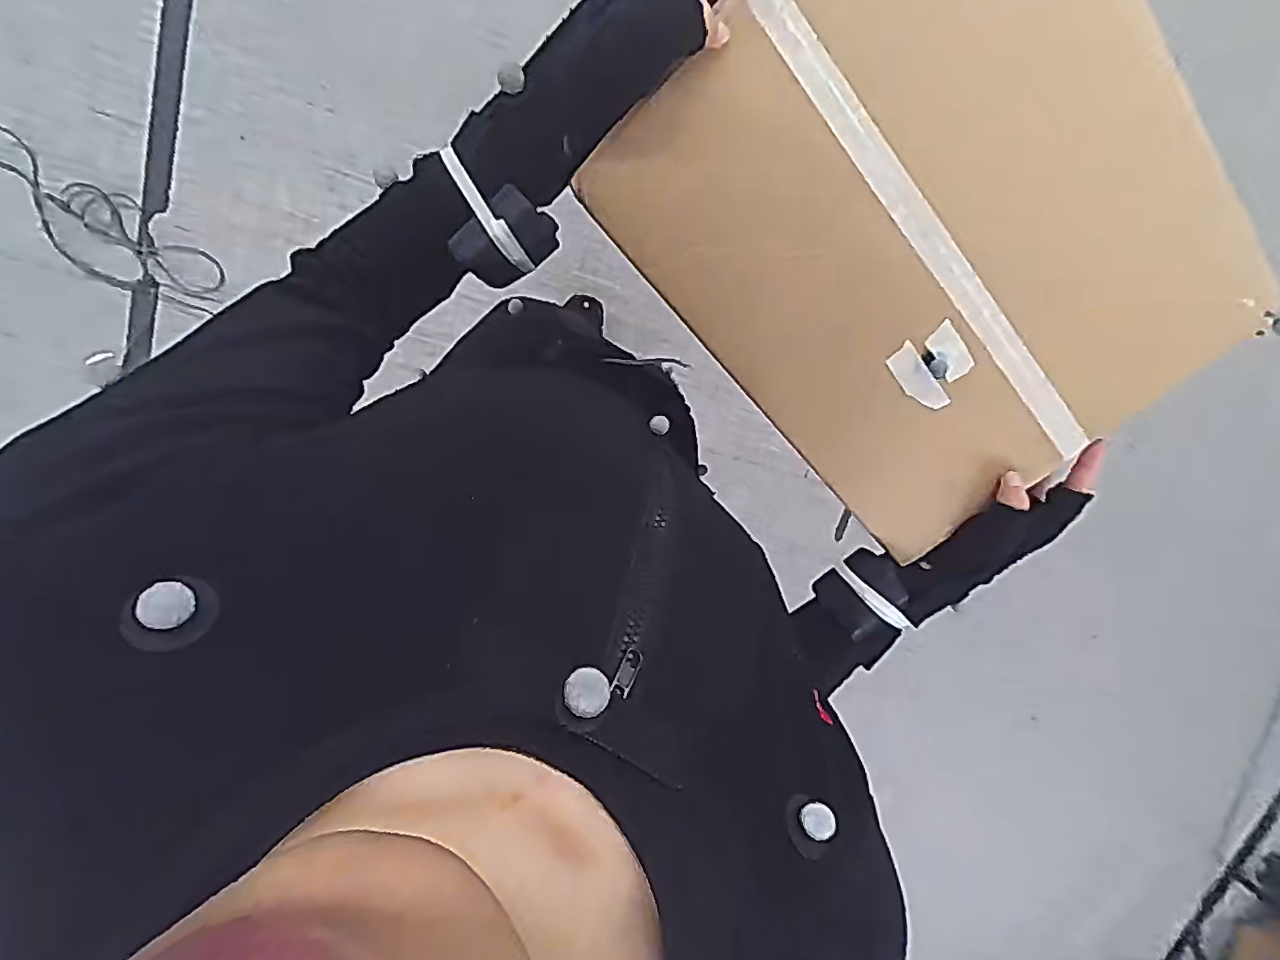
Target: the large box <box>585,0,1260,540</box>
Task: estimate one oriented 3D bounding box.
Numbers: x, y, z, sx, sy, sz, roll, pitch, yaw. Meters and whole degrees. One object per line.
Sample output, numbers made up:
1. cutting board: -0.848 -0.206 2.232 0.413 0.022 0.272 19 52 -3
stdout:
1. large box: 0.207 -0.230 0.516 0.320 0.320 0.408 -39 108 19
